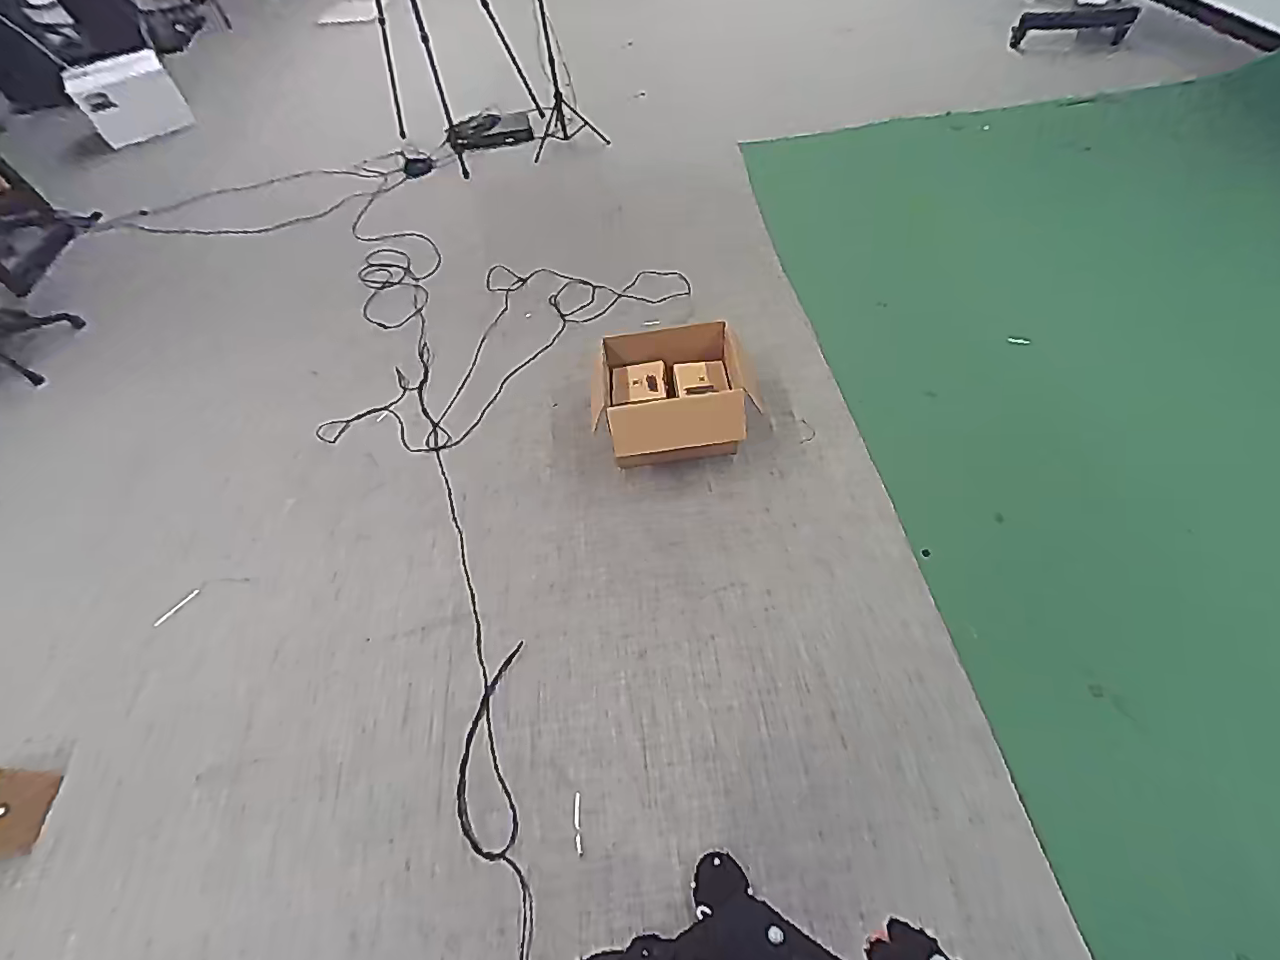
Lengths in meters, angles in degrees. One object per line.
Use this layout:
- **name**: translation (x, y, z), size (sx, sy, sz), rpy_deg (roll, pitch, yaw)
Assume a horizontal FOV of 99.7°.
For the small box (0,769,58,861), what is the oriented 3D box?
- **small box**: translation (-1.569, 0.806, 1.287), size (0.168, 0.176, 0.179), rpy_deg (-9, 56, -1)
